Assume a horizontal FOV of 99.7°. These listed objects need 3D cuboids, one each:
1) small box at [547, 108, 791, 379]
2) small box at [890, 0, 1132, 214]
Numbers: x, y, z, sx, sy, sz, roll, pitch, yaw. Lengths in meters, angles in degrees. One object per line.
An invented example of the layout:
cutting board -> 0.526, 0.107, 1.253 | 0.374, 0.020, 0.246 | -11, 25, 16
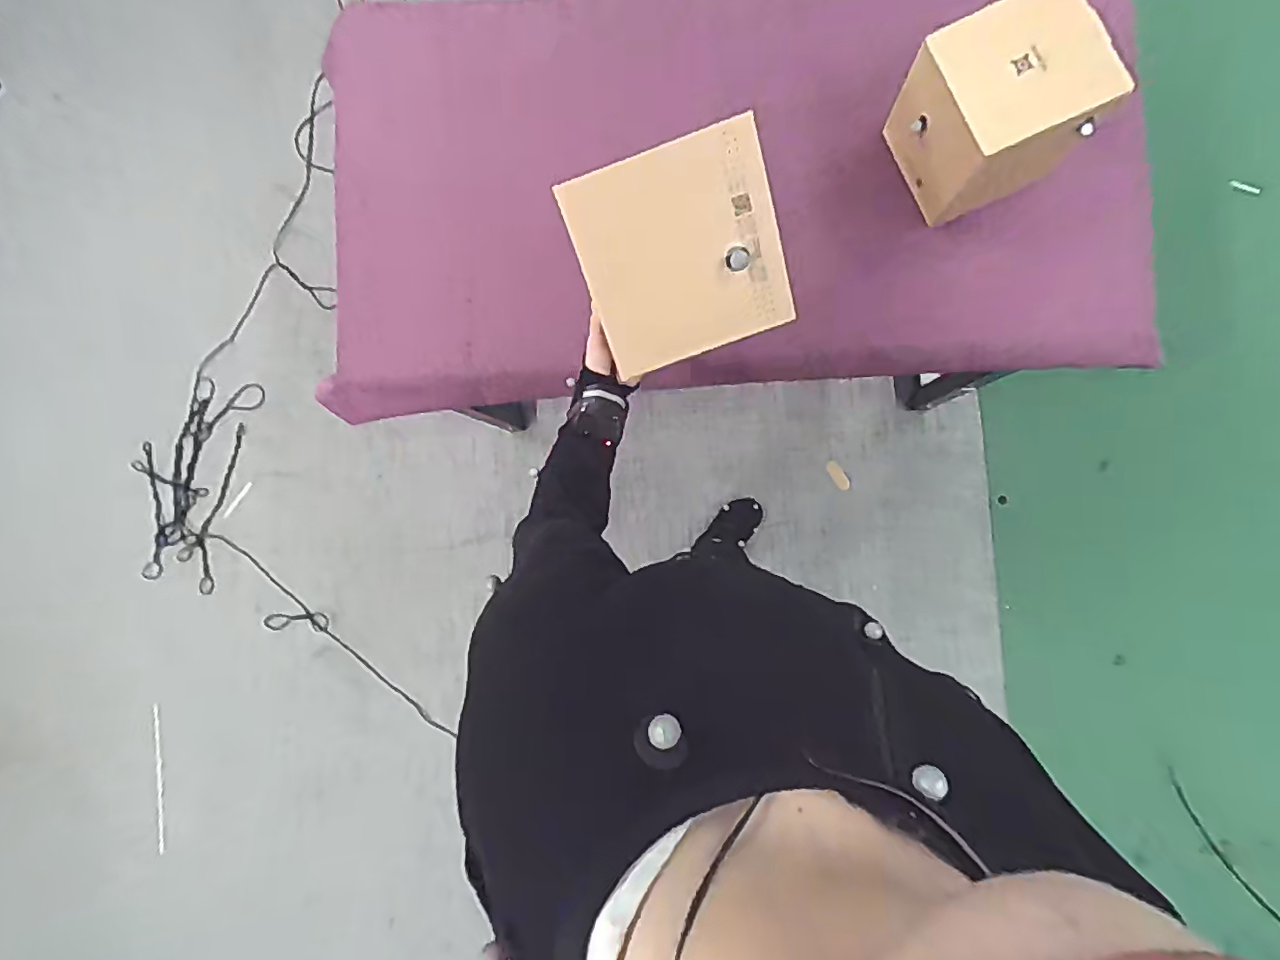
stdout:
small box -> 0.027, -0.216, 0.511 | 0.176, 0.179, 0.168 | -19, 113, 4
small box -> 0.445, -0.481, 0.691 | 0.179, 0.176, 0.168 | -23, 85, 5
